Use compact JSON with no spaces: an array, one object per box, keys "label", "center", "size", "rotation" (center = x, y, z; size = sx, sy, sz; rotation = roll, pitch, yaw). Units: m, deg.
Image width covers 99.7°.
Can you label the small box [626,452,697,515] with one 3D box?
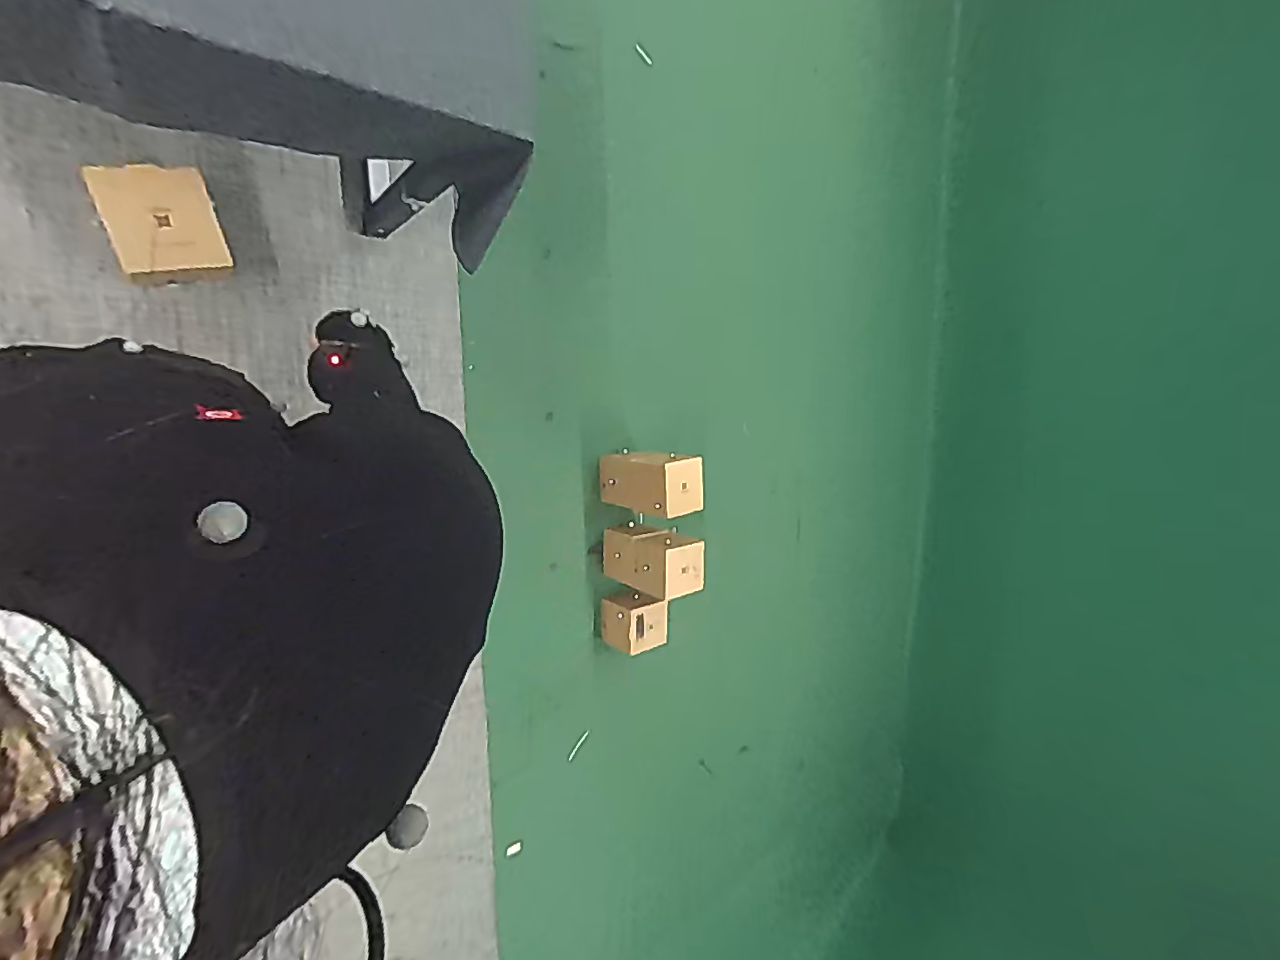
[{"label":"small box","center":[0.067,0.003,1.761],"size":[0.168,0.176,0.179],"rotation":[-12,105,-40]}]

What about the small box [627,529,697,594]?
[{"label":"small box","center":[0.070,0.266,1.805],"size":[0.179,0.176,0.168],"rotation":[-7,102,-41]}]

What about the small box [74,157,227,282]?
[{"label":"small box","center":[-0.923,-0.489,1.030],"size":[0.168,0.176,0.179],"rotation":[-23,111,-36]}]
